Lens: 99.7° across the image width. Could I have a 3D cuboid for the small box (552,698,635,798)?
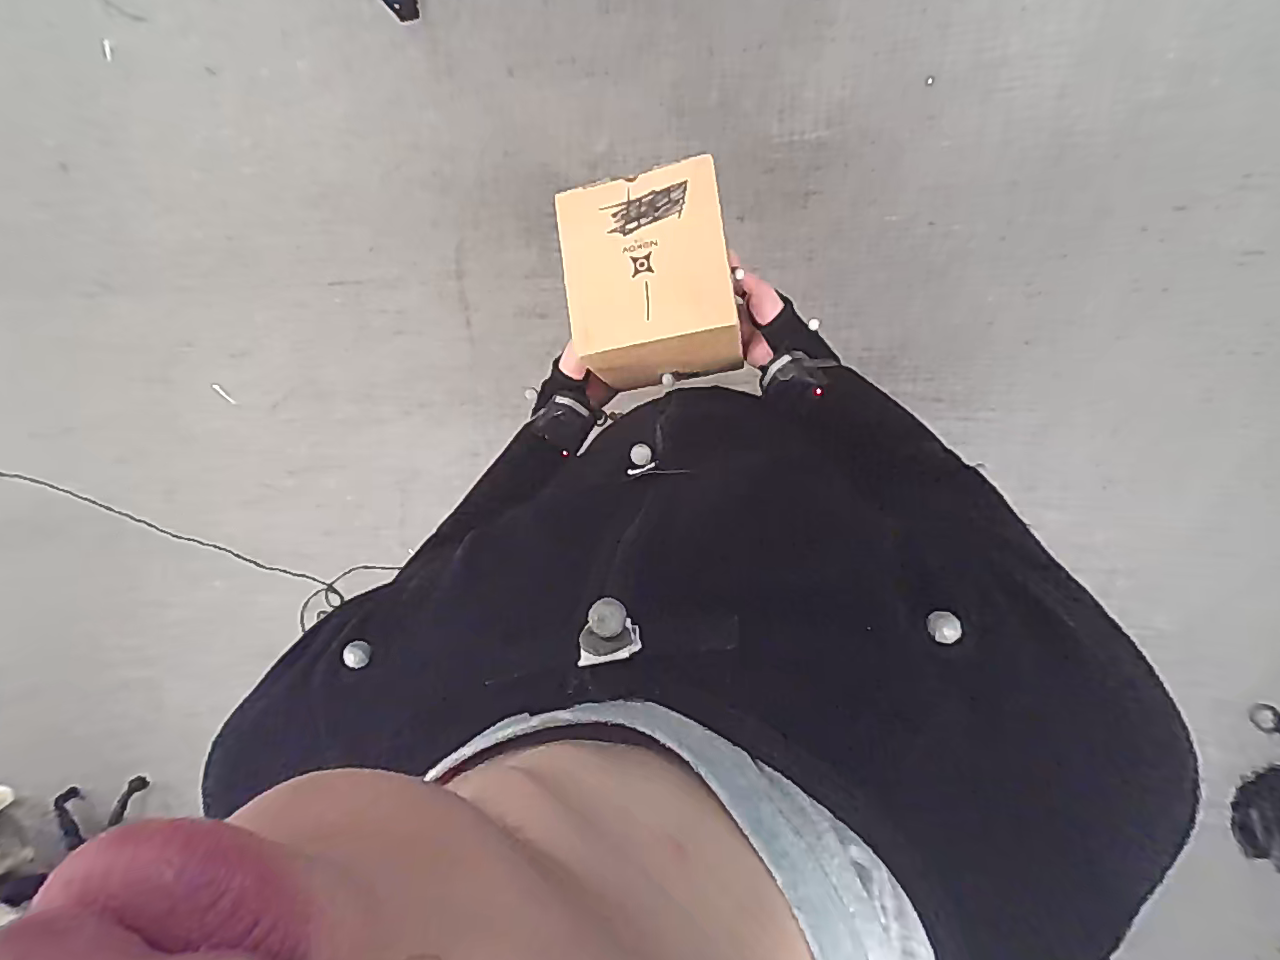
[{"bbox_3d":[-0.132,0.803,1.638,0.168,0.176,0.179,44,104,2],"label":"small box"}]
